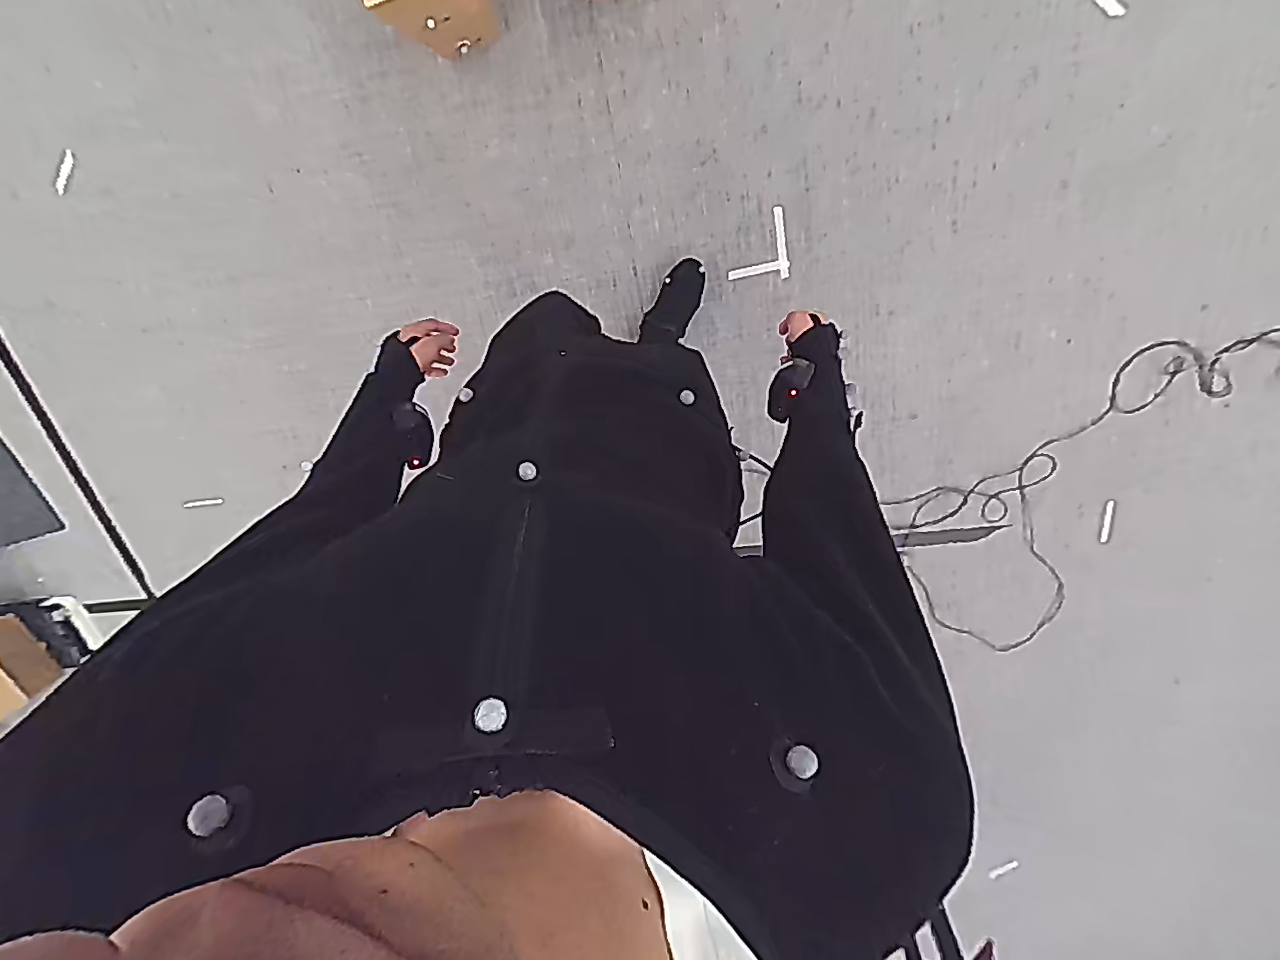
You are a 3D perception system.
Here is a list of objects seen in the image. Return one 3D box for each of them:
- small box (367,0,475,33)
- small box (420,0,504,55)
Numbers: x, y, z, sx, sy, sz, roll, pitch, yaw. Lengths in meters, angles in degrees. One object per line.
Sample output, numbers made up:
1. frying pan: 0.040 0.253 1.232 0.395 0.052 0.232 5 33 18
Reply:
1. small box: -0.448 -1.021 1.048 0.168 0.176 0.179 -10 112 11
2. small box: -0.426 -1.091 1.194 0.168 0.176 0.179 -12 112 11
